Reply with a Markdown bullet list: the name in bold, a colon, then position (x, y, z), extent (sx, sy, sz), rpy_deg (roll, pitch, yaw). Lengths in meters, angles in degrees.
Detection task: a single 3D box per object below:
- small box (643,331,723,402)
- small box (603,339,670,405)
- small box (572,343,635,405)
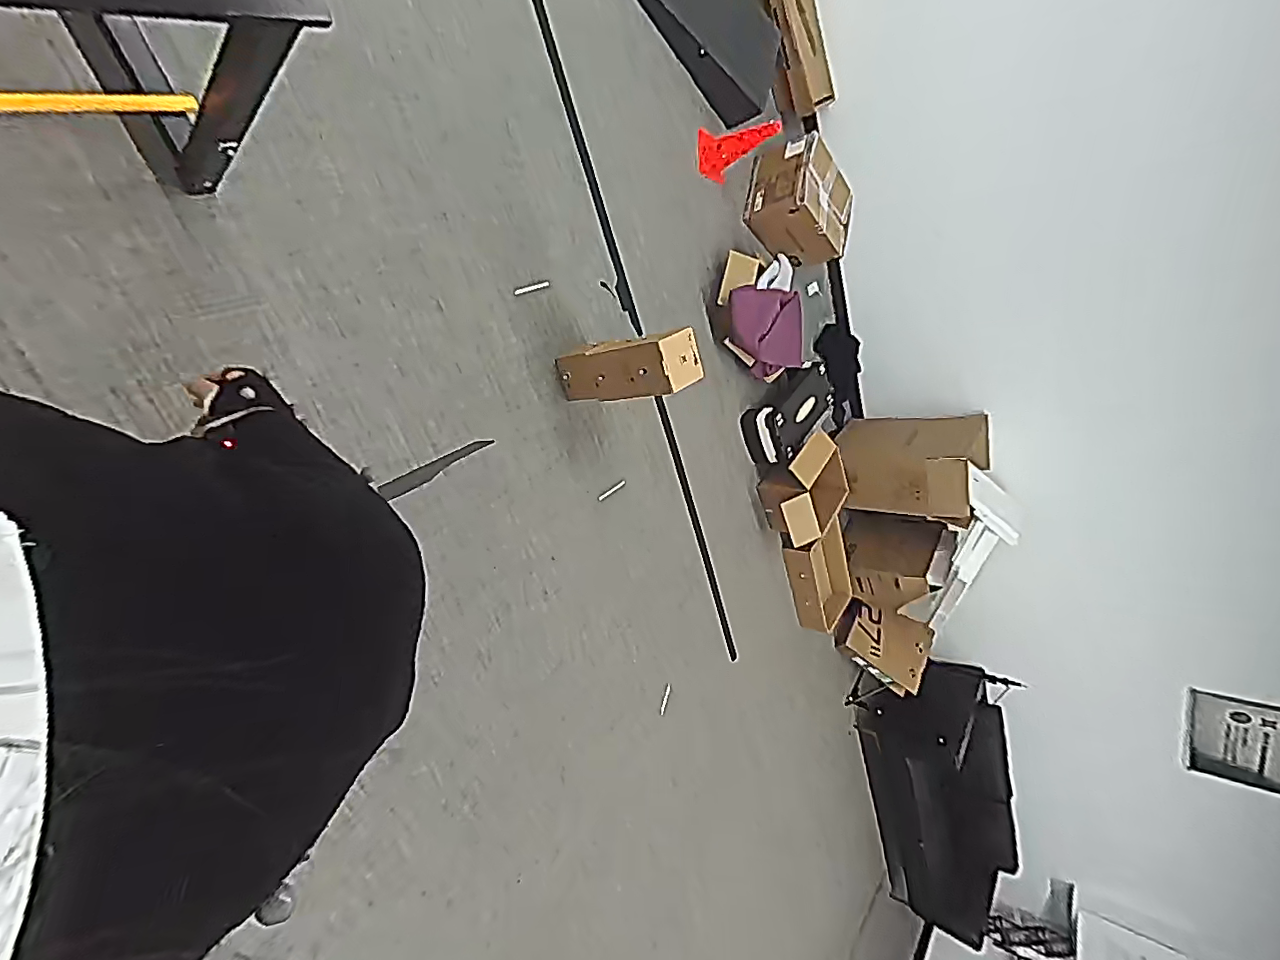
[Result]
- **small box**: position (0.127, -0.350, 1.682), extent (0.179, 0.176, 0.168), rpy_deg (-35, 116, -40)
- **small box**: position (0.008, -0.356, 1.795), extent (0.179, 0.176, 0.168), rpy_deg (-36, 116, -40)
- **small box**: position (-0.110, -0.373, 1.909), extent (0.179, 0.176, 0.168), rpy_deg (-36, 117, -39)
